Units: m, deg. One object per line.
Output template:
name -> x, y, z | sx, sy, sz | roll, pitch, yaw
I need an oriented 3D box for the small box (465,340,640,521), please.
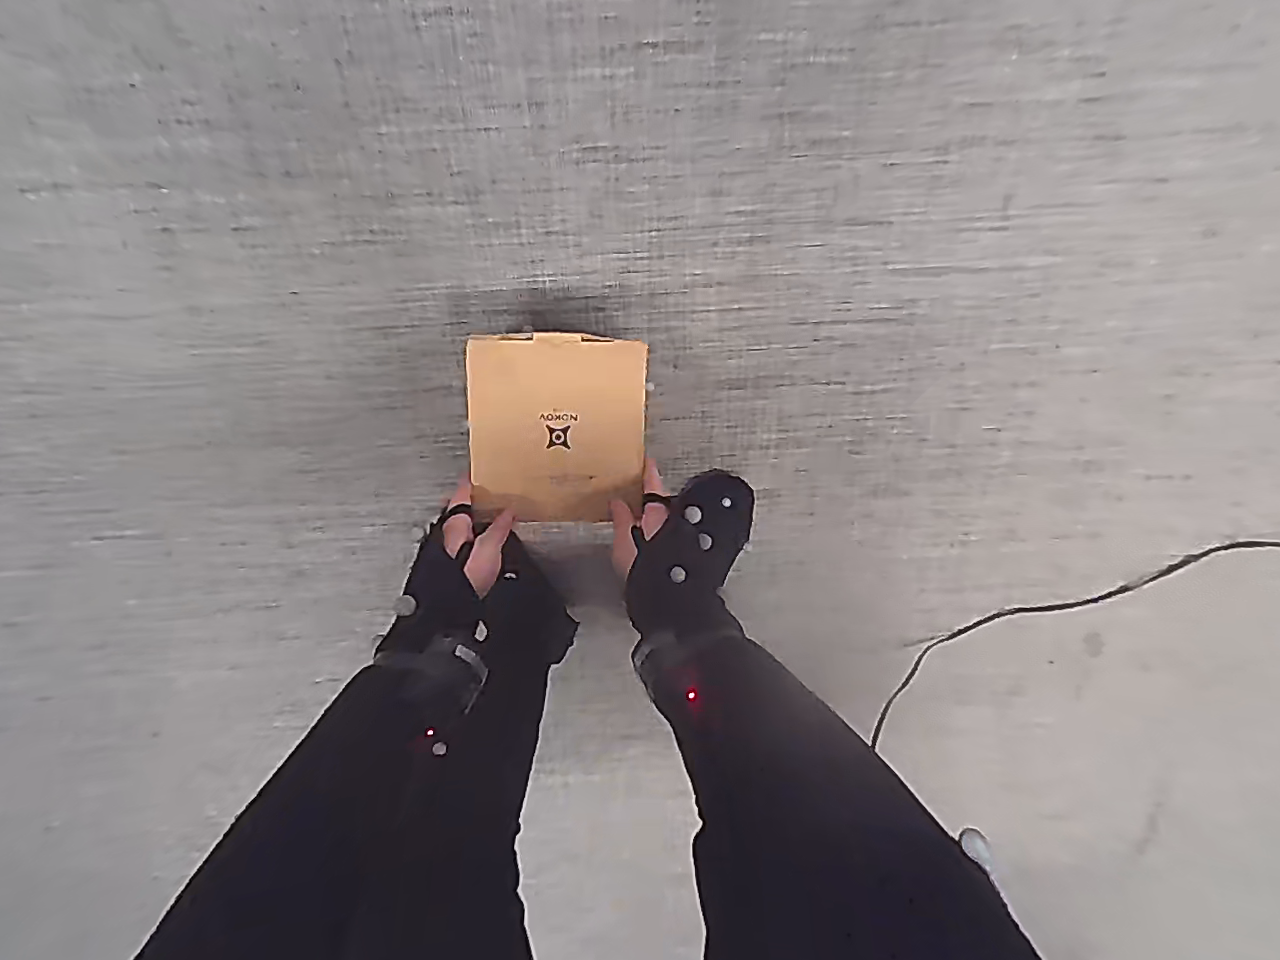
small box -> -0.089, -0.060, 0.599 | 0.168, 0.176, 0.179 | 0, 102, -4
